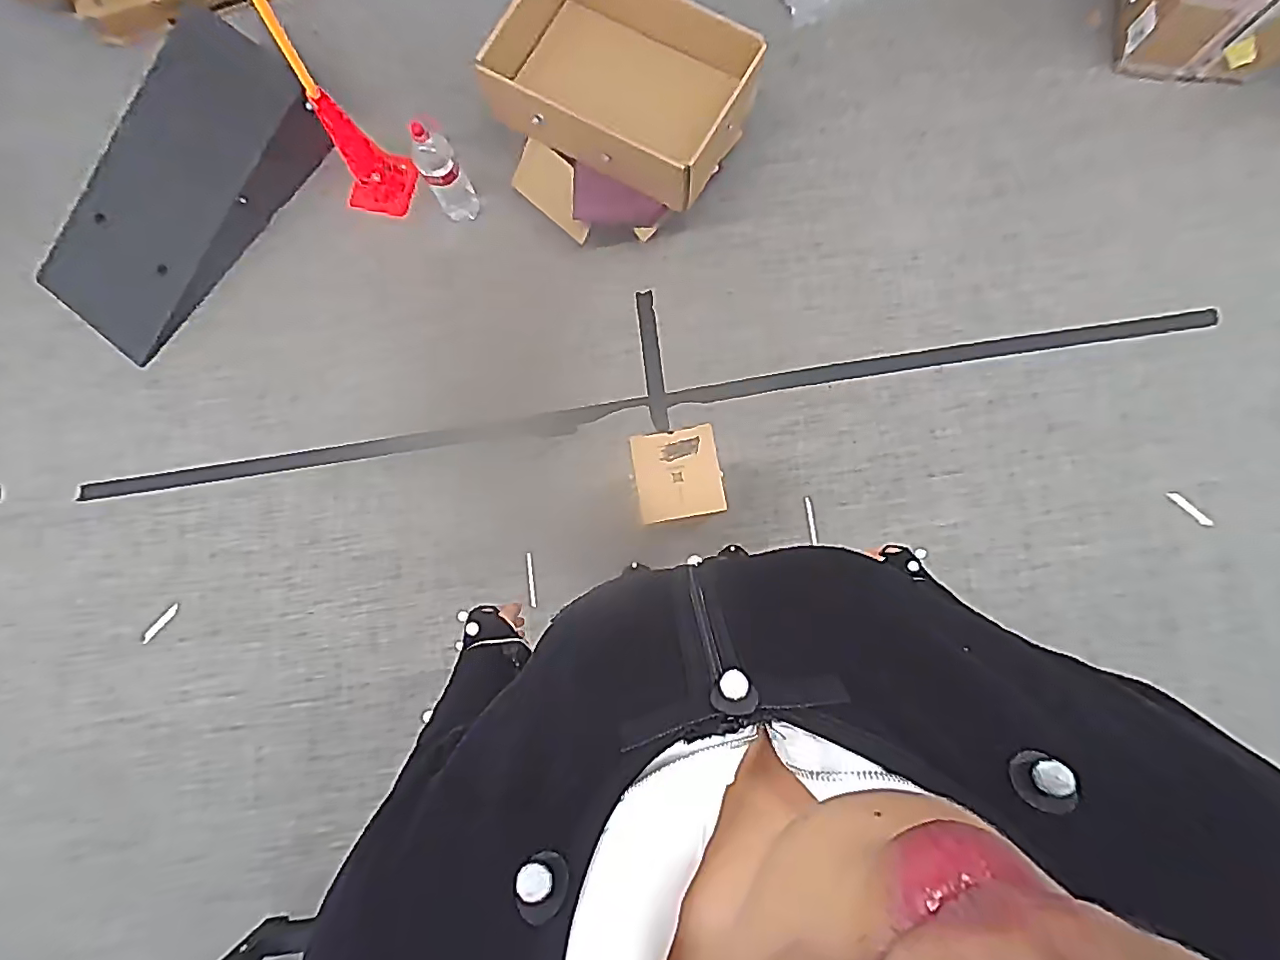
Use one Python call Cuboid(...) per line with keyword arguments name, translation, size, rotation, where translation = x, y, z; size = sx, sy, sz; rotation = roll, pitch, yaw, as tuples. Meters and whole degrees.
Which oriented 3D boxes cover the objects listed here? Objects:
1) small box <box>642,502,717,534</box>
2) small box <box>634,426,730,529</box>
Cuboid(name="small box", translation=(0.086, 0.026, 1.291), size=(0.168, 0.176, 0.179), rotation=(-10, 81, 2))
Cuboid(name="small box", translation=(0.082, 0.002, 1.127), size=(0.168, 0.176, 0.179), rotation=(-10, 82, 1))
